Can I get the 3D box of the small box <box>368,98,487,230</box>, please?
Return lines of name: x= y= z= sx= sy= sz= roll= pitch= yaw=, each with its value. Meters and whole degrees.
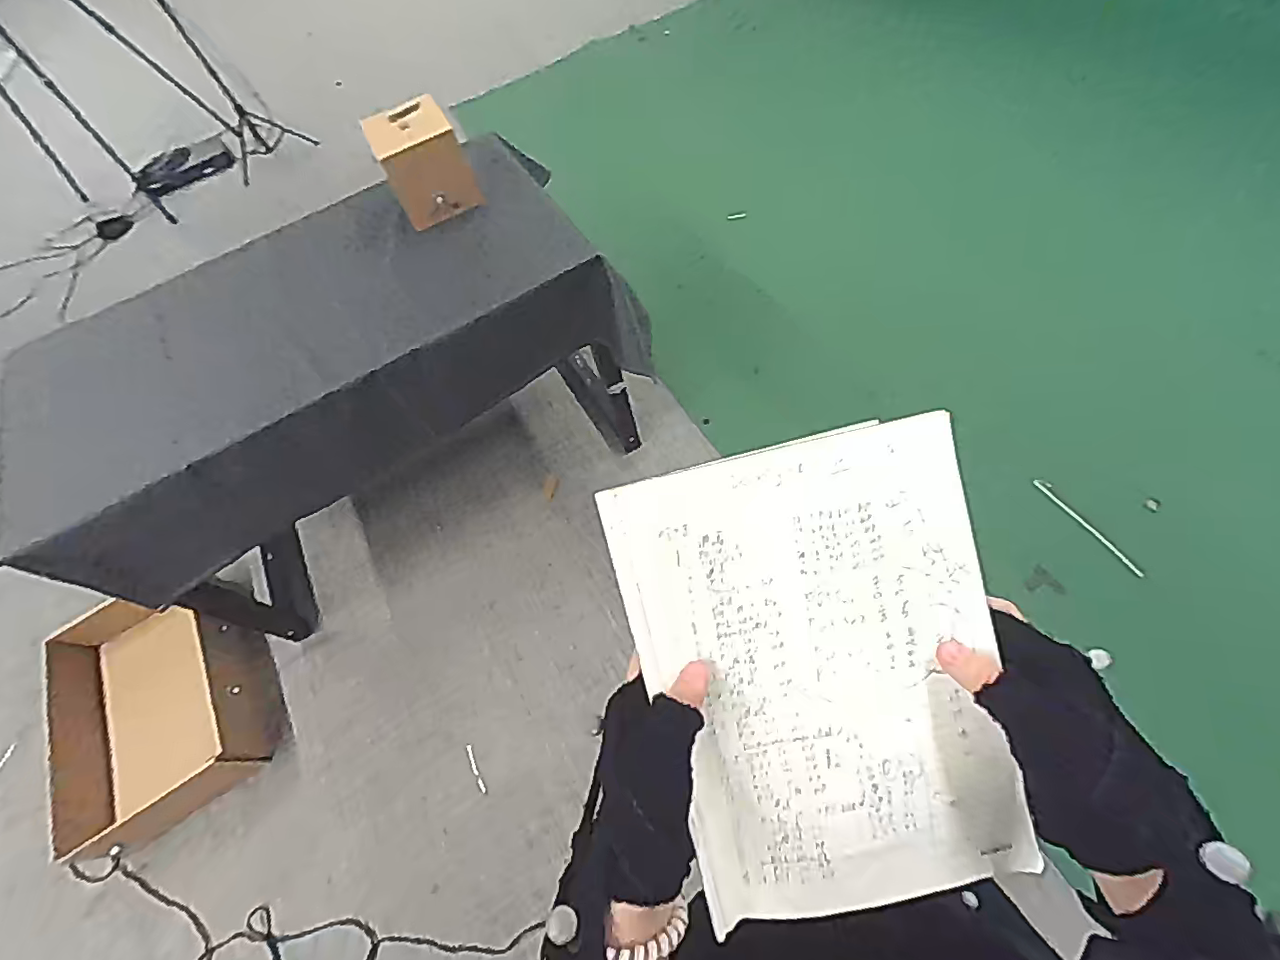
small box: x=-0.465 y=-0.693 z=1.197 sx=0.168 sy=0.176 sz=0.179 roll=-28 pitch=61 yaw=-6
